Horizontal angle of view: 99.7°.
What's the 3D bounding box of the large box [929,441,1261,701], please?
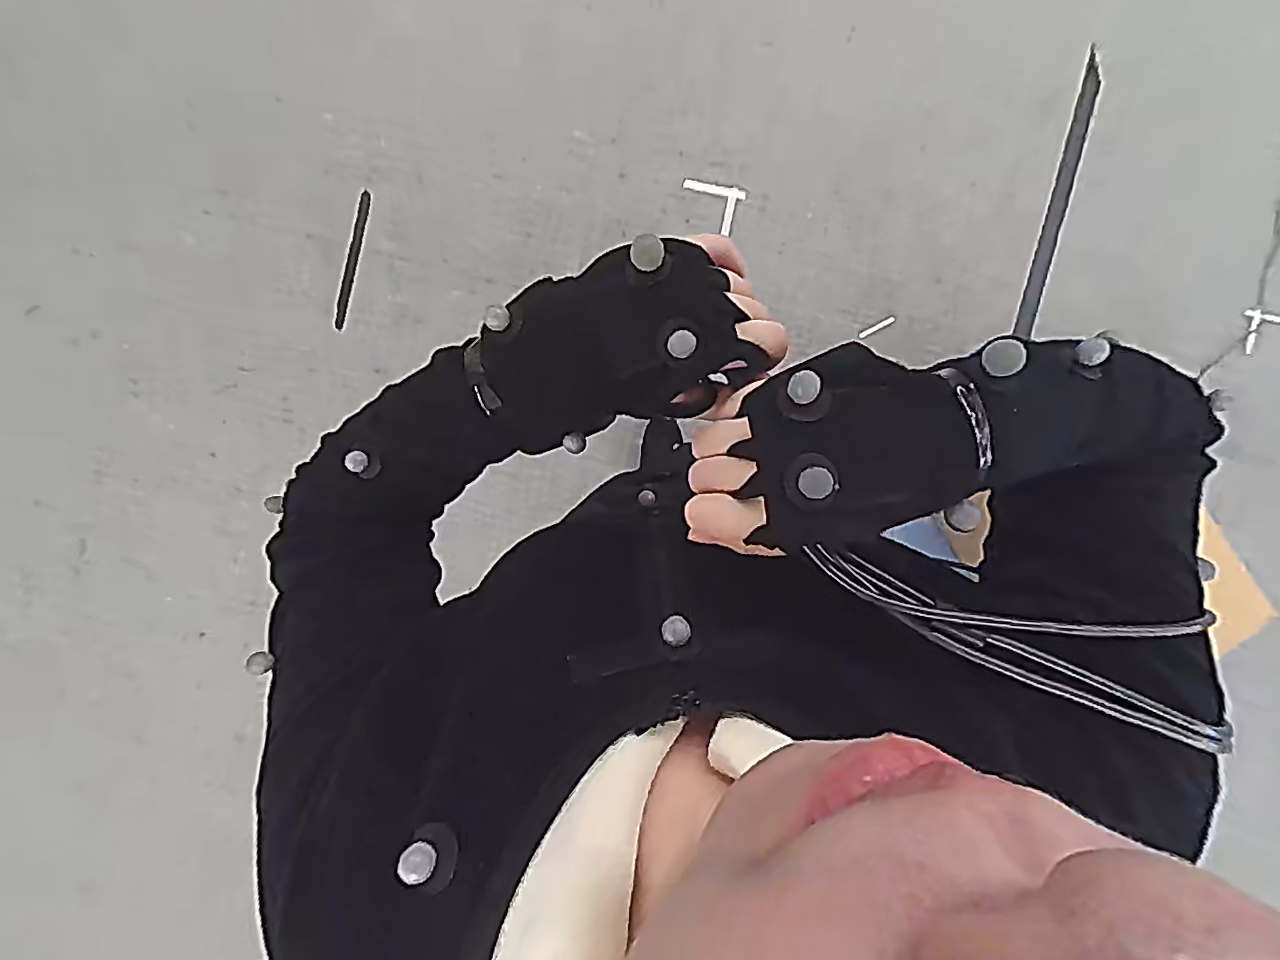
[{"bbox_3d":[0.927,0.168,1.158,0.320,0.320,0.408,-34,91,2],"label":"large box"}]
